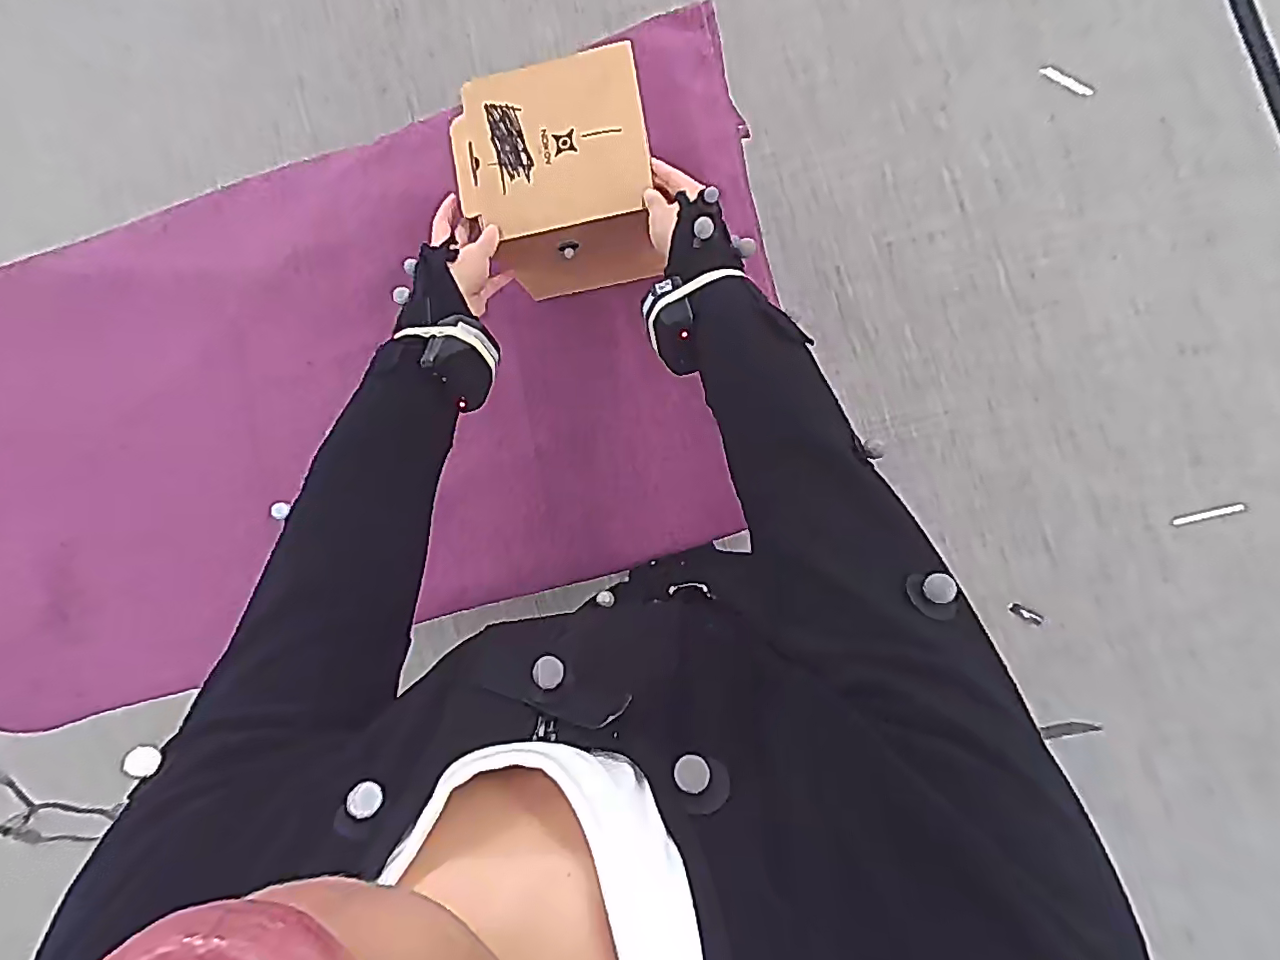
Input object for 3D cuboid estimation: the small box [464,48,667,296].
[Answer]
[{"bbox_3d":[-0.071,-0.324,0.608,0.179,0.176,0.168,-9,89,6],"label":"small box"}]
